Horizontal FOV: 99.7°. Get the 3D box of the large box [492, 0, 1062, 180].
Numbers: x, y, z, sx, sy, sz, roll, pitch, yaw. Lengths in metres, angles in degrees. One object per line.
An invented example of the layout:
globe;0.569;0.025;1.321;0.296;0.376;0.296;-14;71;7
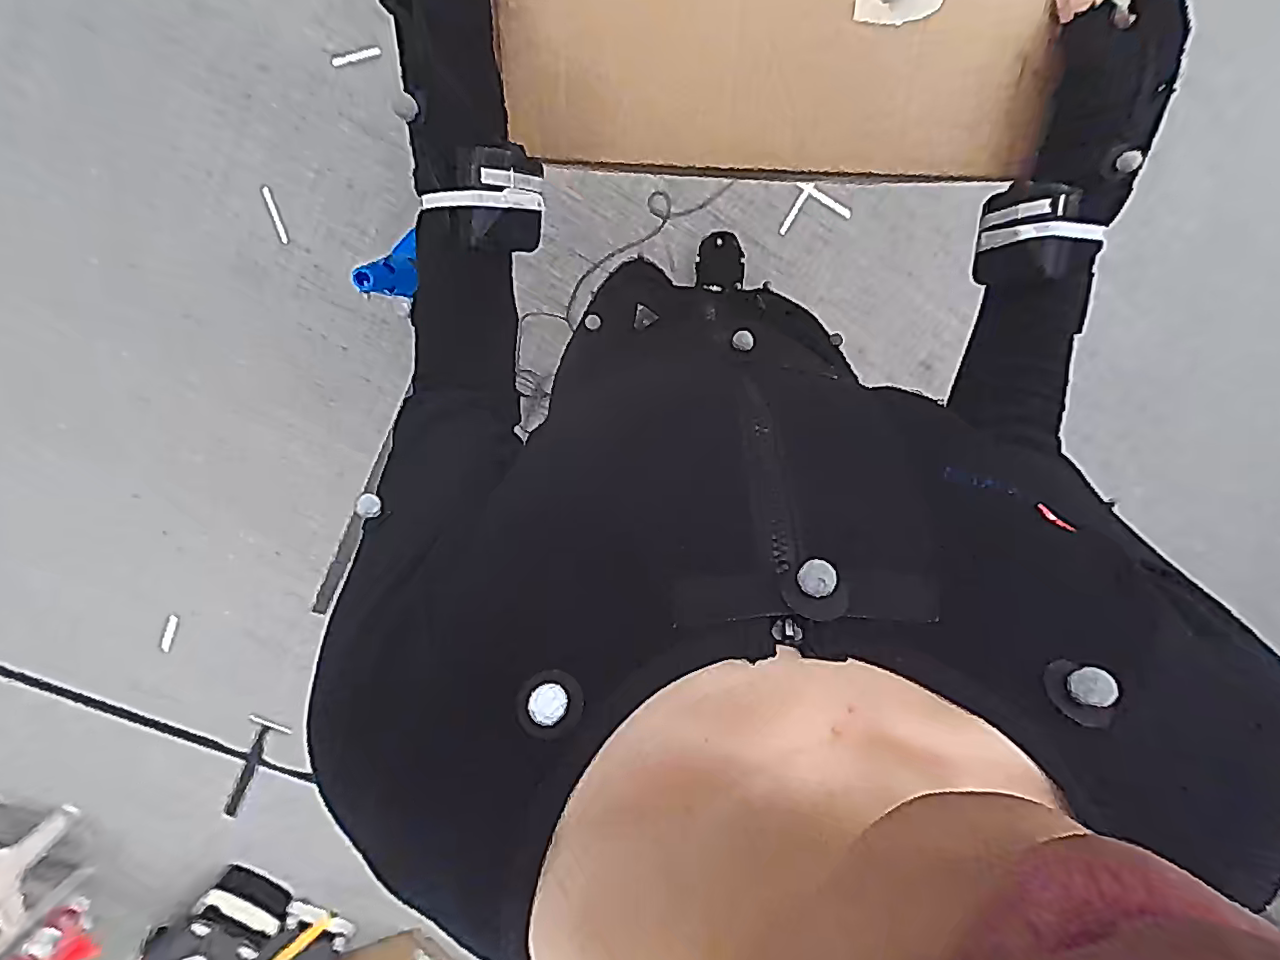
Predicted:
large box;0.092;-0.450;0.479;0.408;0.320;0.320;0;118;-1
